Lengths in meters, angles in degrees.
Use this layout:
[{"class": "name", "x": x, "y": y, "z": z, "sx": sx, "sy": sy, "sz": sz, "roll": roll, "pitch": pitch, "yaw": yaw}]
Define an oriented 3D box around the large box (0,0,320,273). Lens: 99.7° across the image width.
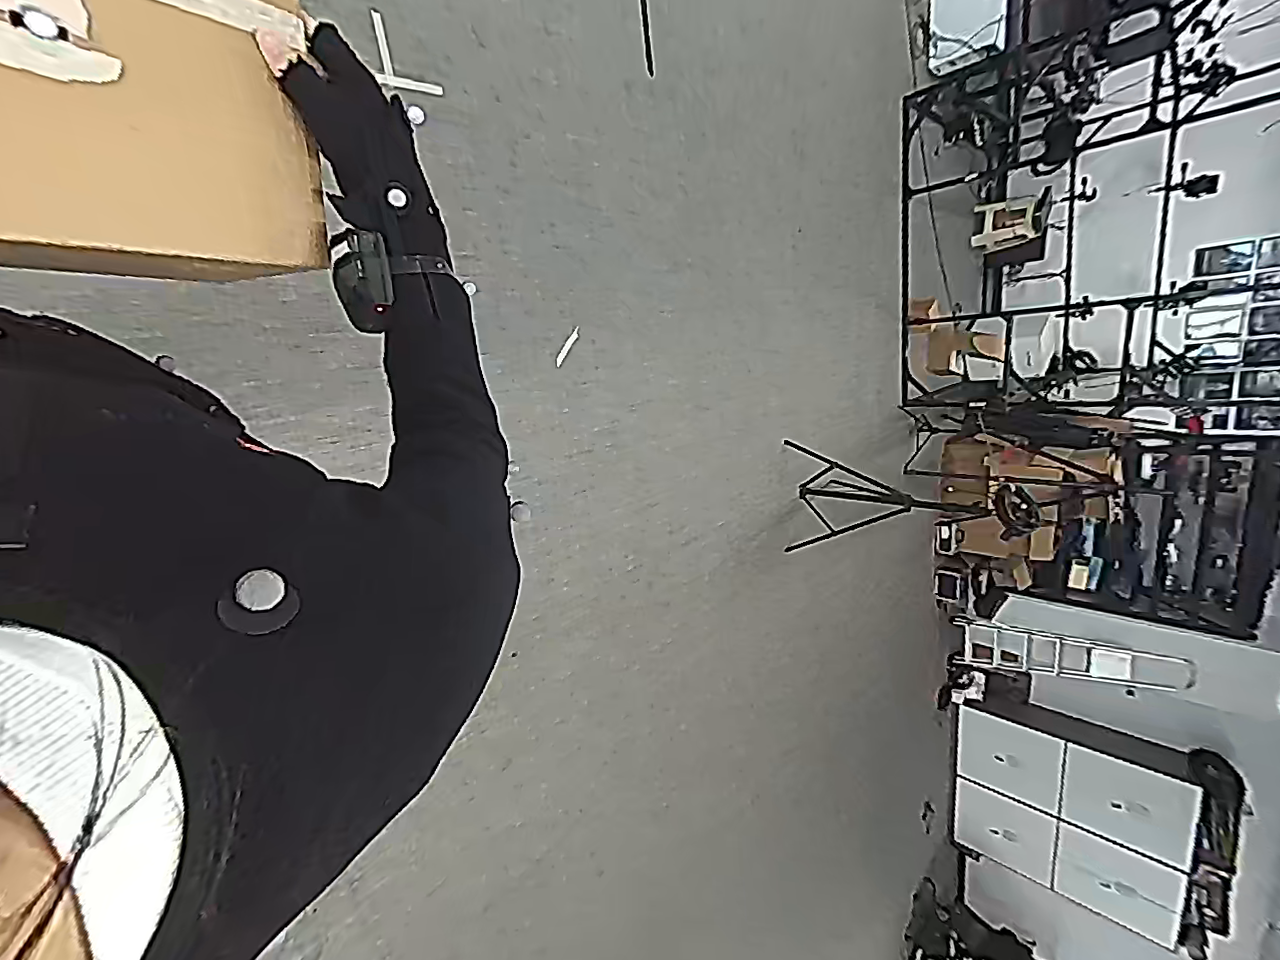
[{"class": "large box", "x": -0.499, "y": -0.315, "z": 0.347, "sx": 0.408, "sy": 0.320, "sz": 0.320, "roll": -16, "pitch": 115, "yaw": -47}]
